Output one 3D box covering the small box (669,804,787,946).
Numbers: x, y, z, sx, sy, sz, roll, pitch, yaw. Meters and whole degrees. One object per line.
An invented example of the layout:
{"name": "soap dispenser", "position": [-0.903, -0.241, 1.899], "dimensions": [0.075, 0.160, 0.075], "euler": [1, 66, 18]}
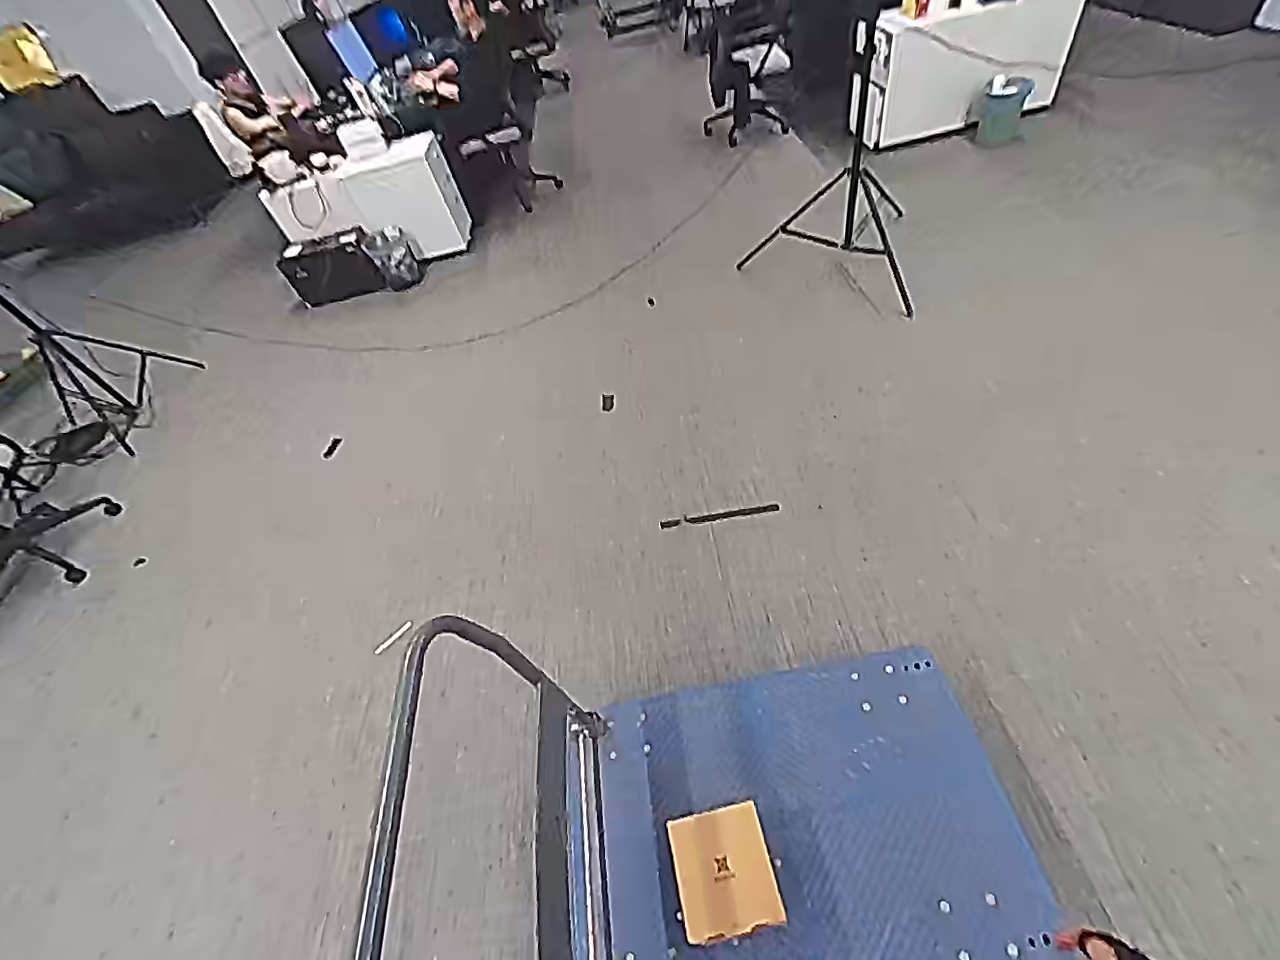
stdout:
{"name": "small box", "position": [0.158, 0.721, 0.985], "dimensions": [0.168, 0.176, 0.179], "euler": [-15, 49, 1]}
